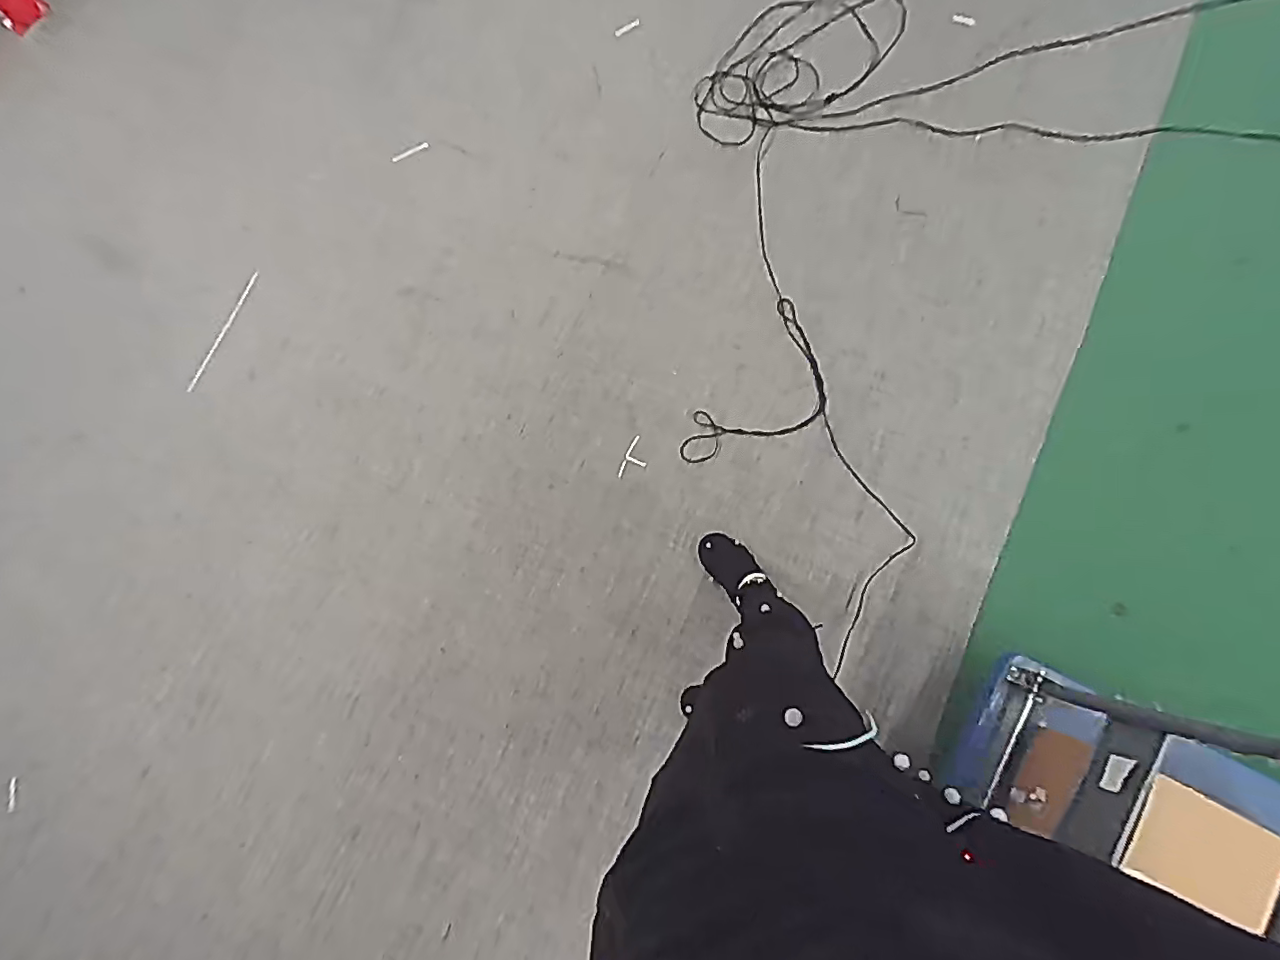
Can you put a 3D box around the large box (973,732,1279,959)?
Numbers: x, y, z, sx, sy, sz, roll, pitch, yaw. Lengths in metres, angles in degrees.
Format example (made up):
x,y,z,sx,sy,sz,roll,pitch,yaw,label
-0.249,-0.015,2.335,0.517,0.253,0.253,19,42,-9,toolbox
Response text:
x,y,z,sx,sy,sz,roll,pitch,yaw,label
0.888,0.705,0.923,0.408,0.320,0.320,28,83,12,large box
